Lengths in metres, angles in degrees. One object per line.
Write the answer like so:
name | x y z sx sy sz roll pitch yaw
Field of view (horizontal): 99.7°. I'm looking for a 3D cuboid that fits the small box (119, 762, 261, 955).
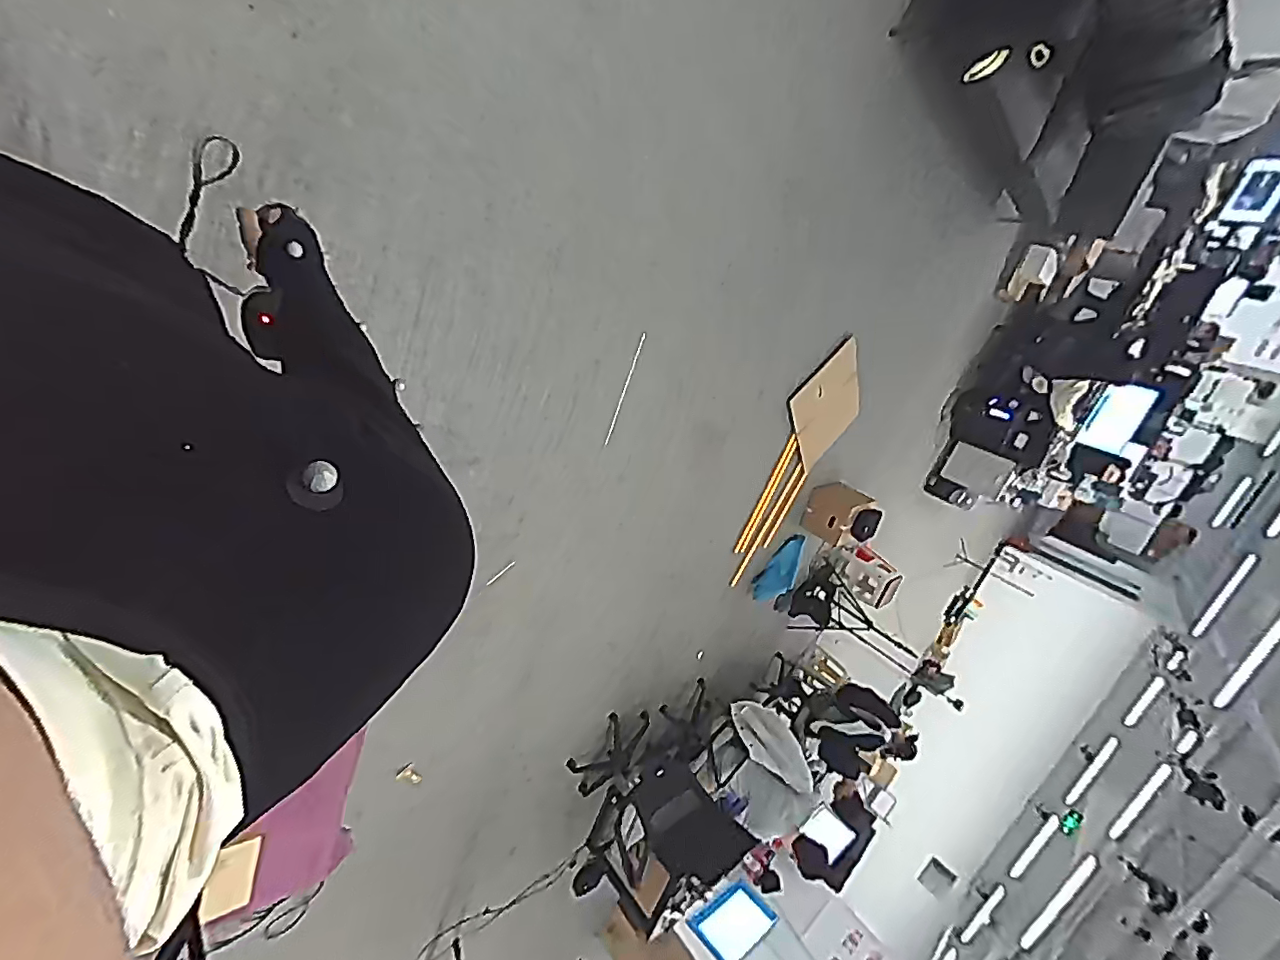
small box | -0.770 0.629 0.922 0.168 0.176 0.179 3 114 -46
